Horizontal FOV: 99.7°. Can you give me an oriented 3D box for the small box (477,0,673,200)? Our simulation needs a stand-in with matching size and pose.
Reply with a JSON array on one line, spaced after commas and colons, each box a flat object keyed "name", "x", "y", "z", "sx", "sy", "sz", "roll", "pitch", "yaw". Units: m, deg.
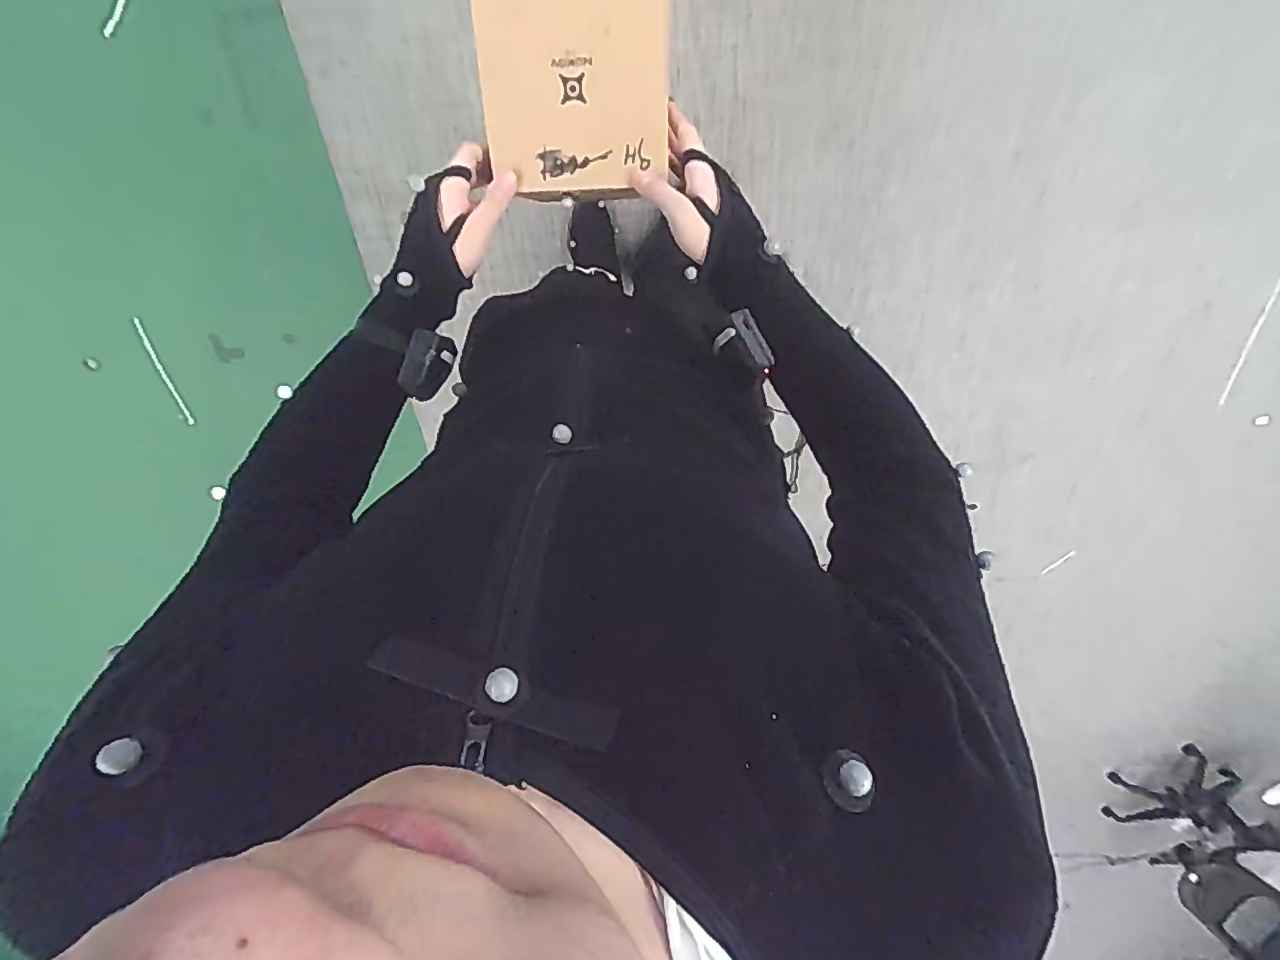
[{"name": "small box", "x": -0.052, "y": -0.386, "z": 0.542, "sx": 0.168, "sy": 0.176, "sz": 0.179, "roll": 0, "pitch": 115, "yaw": 4}]
